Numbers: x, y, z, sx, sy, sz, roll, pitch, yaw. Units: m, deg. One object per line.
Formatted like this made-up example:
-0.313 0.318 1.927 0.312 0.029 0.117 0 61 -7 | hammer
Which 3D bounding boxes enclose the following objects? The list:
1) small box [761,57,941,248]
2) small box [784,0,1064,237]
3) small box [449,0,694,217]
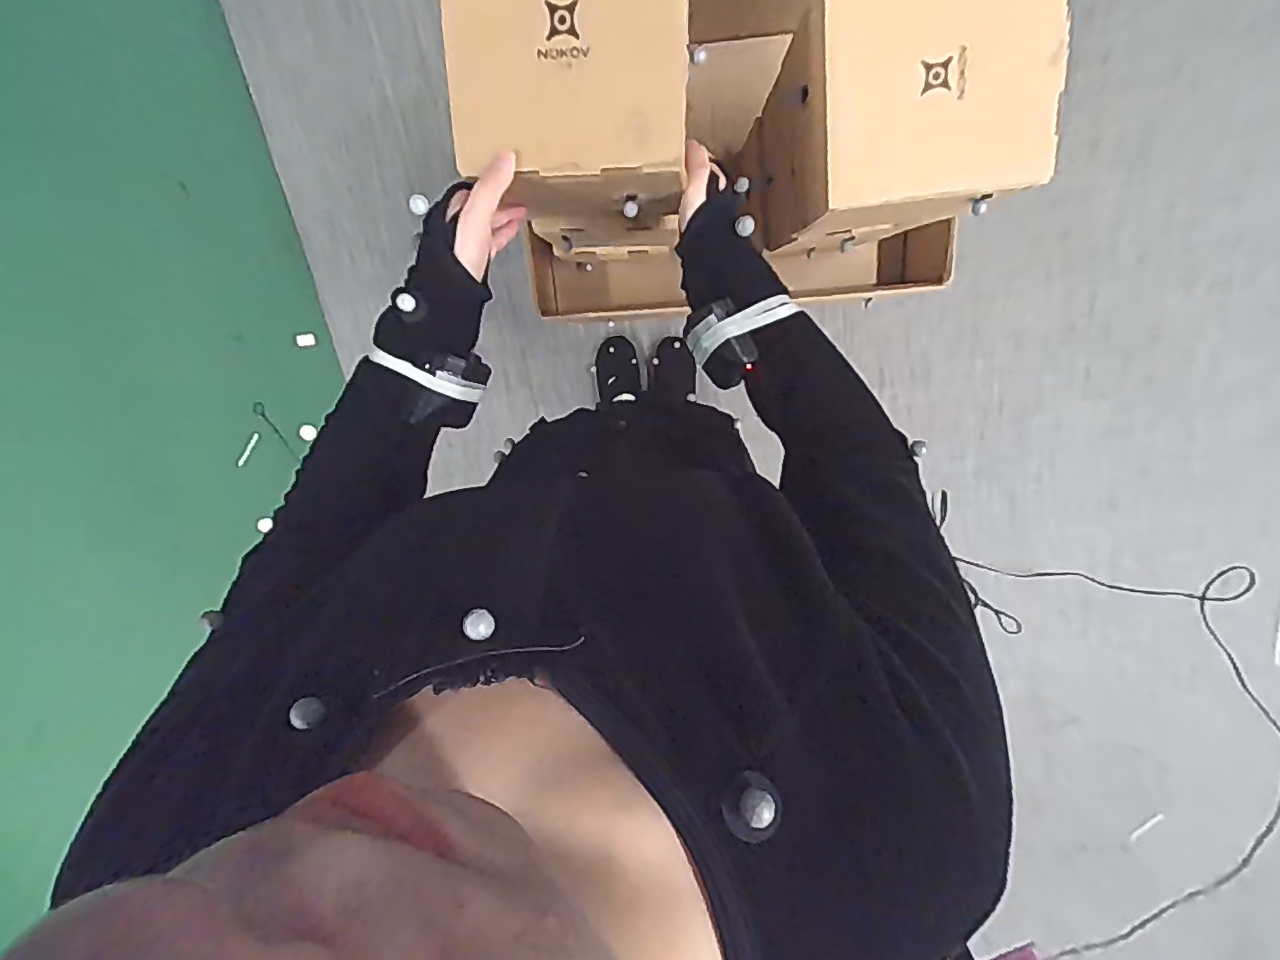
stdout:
0.241 -0.378 0.640 0.168 0.176 0.179 -6 109 4 | small box
0.230 -0.324 0.486 0.179 0.176 0.168 -6 107 4 | small box
-0.042 -0.322 0.441 0.168 0.176 0.179 1 106 3 | small box
